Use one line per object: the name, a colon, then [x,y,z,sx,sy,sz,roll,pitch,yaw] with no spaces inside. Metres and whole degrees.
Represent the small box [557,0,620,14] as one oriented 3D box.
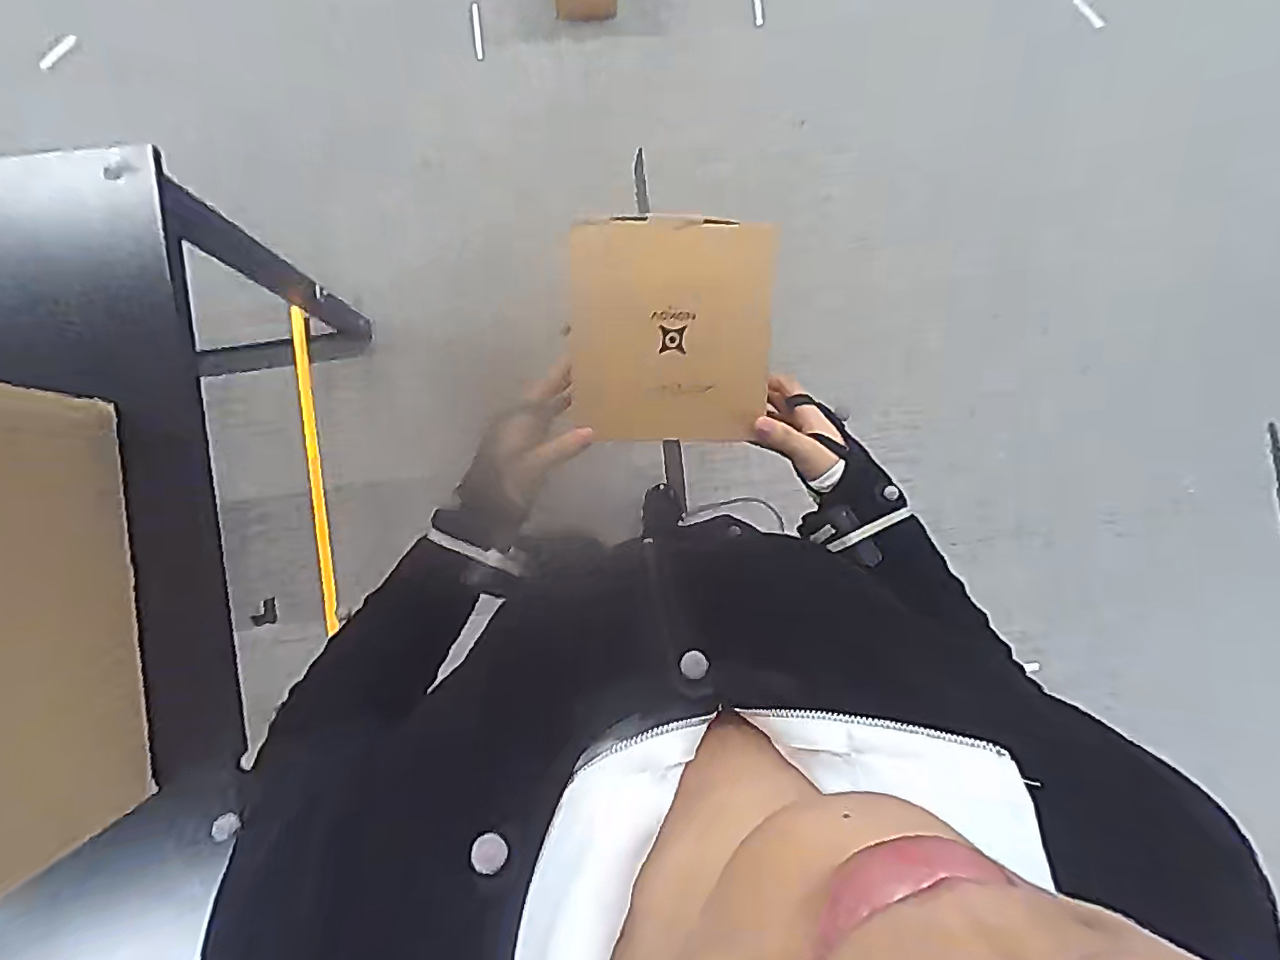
small box: [-0.140,-1.382,1.430,0.179,0.176,0.168,-3,90,-5]
